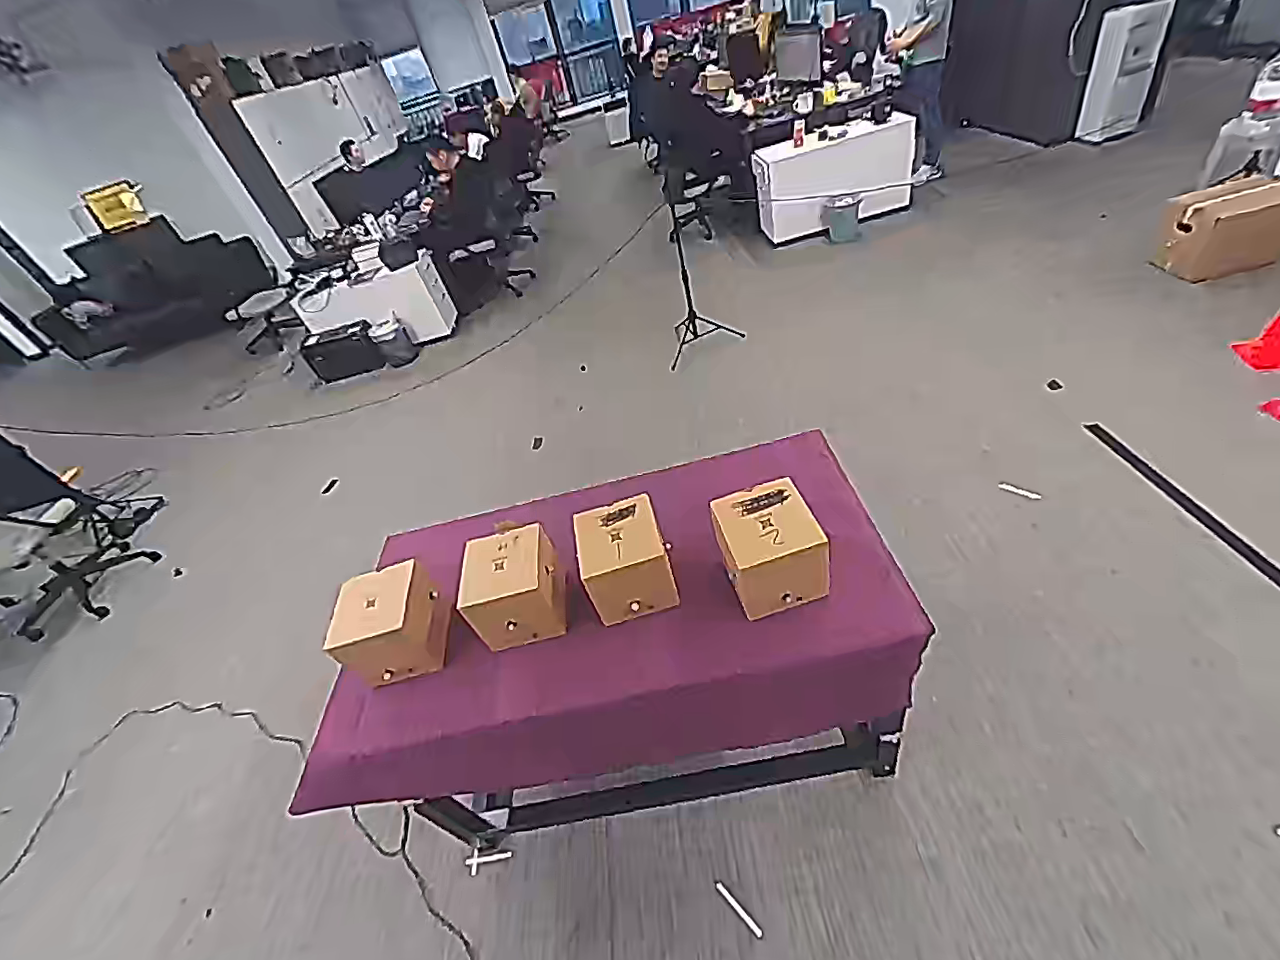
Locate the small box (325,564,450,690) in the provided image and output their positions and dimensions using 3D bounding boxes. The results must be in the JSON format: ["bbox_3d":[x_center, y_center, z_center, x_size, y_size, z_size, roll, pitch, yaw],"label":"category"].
[{"bbox_3d":[-0.524,0.315,1.155,0.168,0.176,0.179,-17,40,3],"label":"small box"}]

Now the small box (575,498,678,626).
[{"bbox_3d":[-0.029,0.172,1.131,0.168,0.176,0.179,-18,41,1],"label":"small box"}]

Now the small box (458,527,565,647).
[{"bbox_3d":[-0.262,0.234,1.147,0.168,0.176,0.179,-15,40,4],"label":"small box"}]
